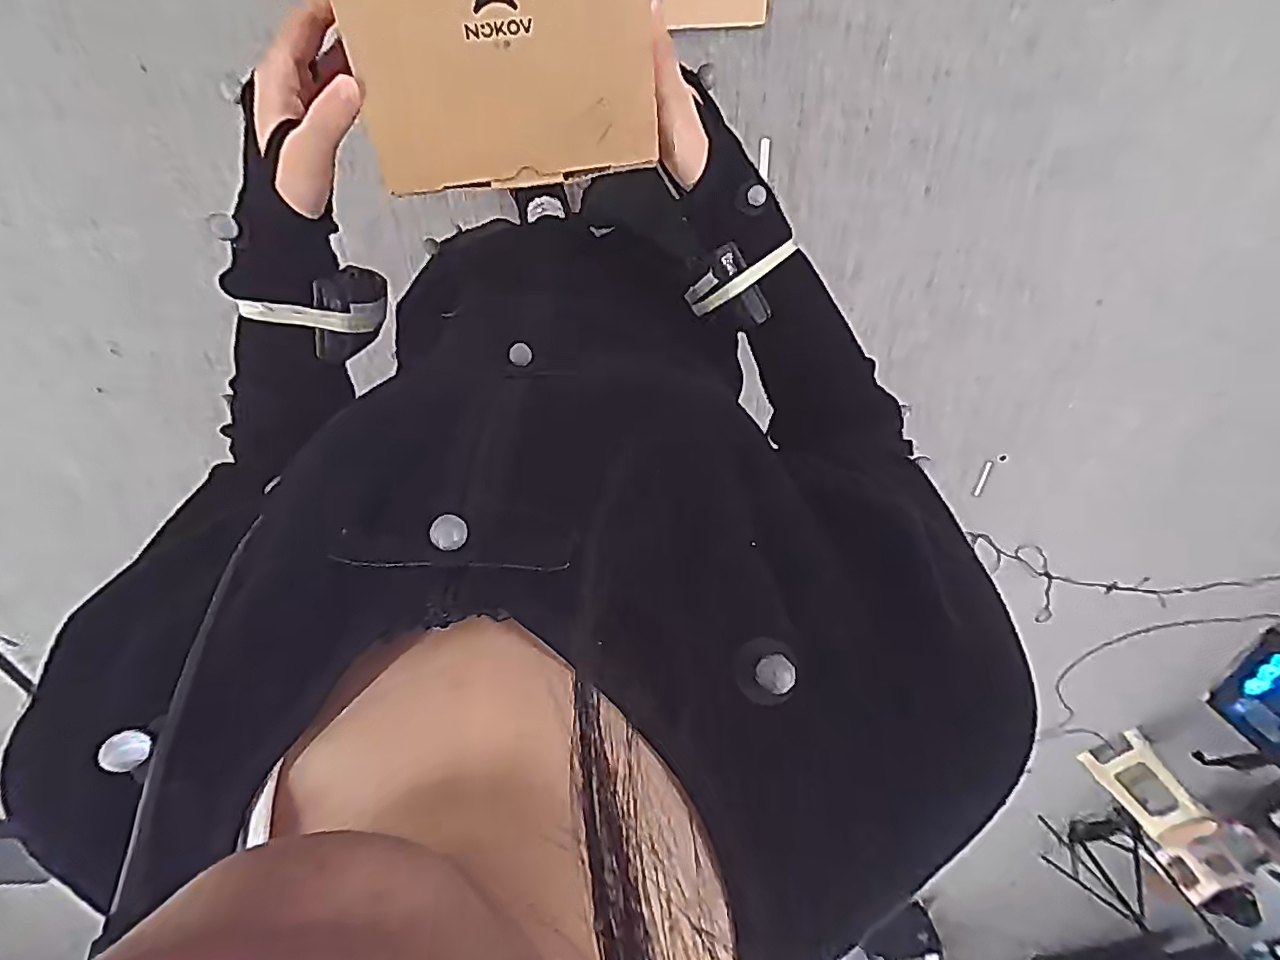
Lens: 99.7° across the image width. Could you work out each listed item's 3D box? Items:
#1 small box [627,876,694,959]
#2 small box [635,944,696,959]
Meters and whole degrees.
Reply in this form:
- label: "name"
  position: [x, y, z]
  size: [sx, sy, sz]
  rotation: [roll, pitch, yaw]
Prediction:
- label: "small box"
  position: [0.053, 1.276, 1.567]
  size: [0.168, 0.176, 0.179]
  rotation: [-4, 124, -7]
- label: "small box"
  position: [0.076, 1.372, 1.436]
  size: [0.168, 0.176, 0.179]
  rotation: [-5, 125, -7]
